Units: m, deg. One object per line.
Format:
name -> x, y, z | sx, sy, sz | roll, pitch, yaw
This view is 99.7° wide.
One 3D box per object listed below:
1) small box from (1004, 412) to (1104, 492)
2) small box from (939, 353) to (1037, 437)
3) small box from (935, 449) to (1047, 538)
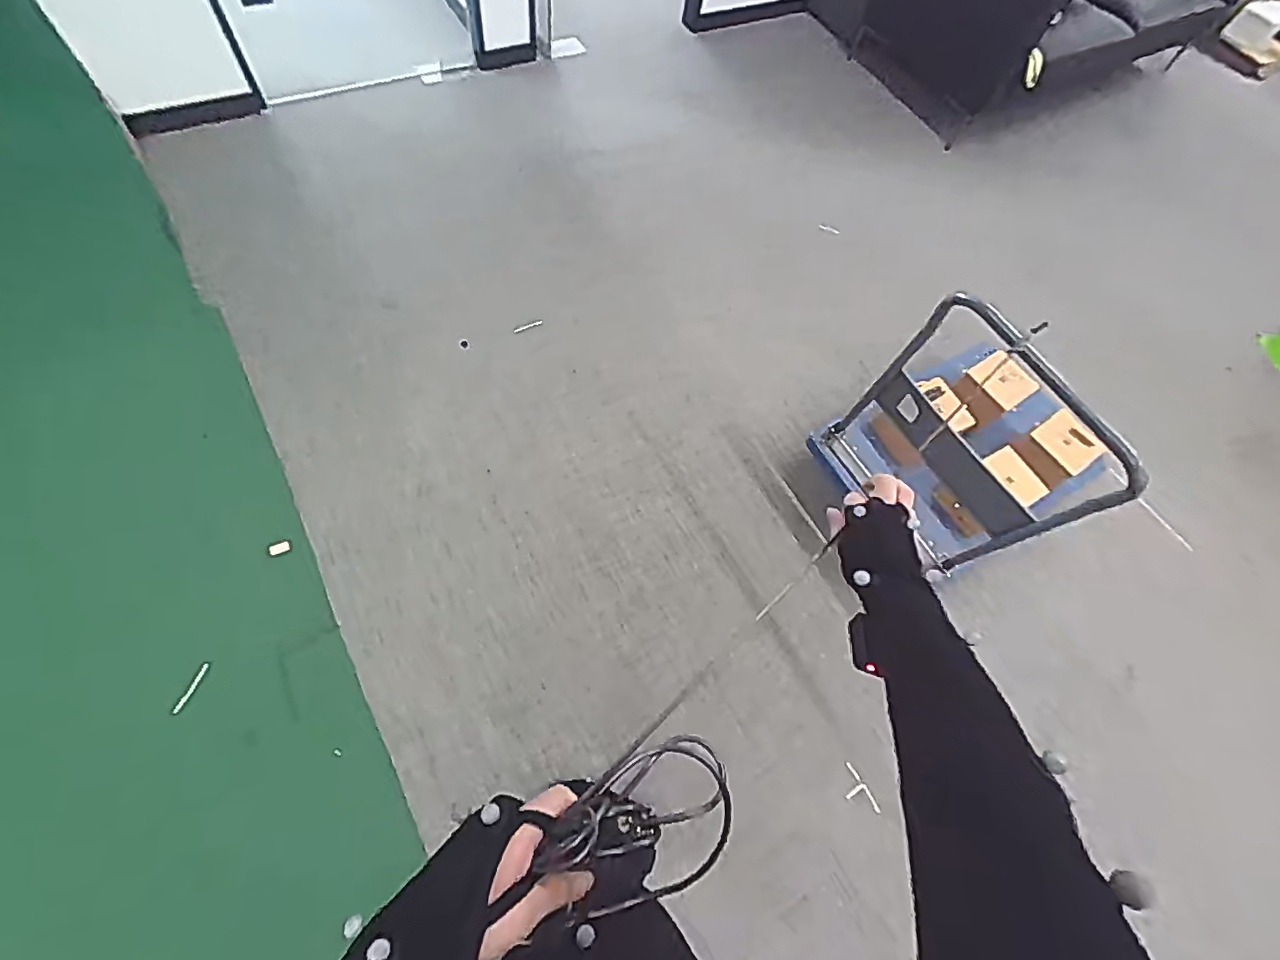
small box -> 1.234, -0.070, 1.644 | 0.179, 0.176, 0.168 | -30, 71, -19
small box -> 1.092, -0.264, 1.717 | 0.179, 0.176, 0.168 | -30, 73, -20
small box -> 1.003, 0.043, 1.561 | 0.179, 0.176, 0.168 | -25, 70, -17
